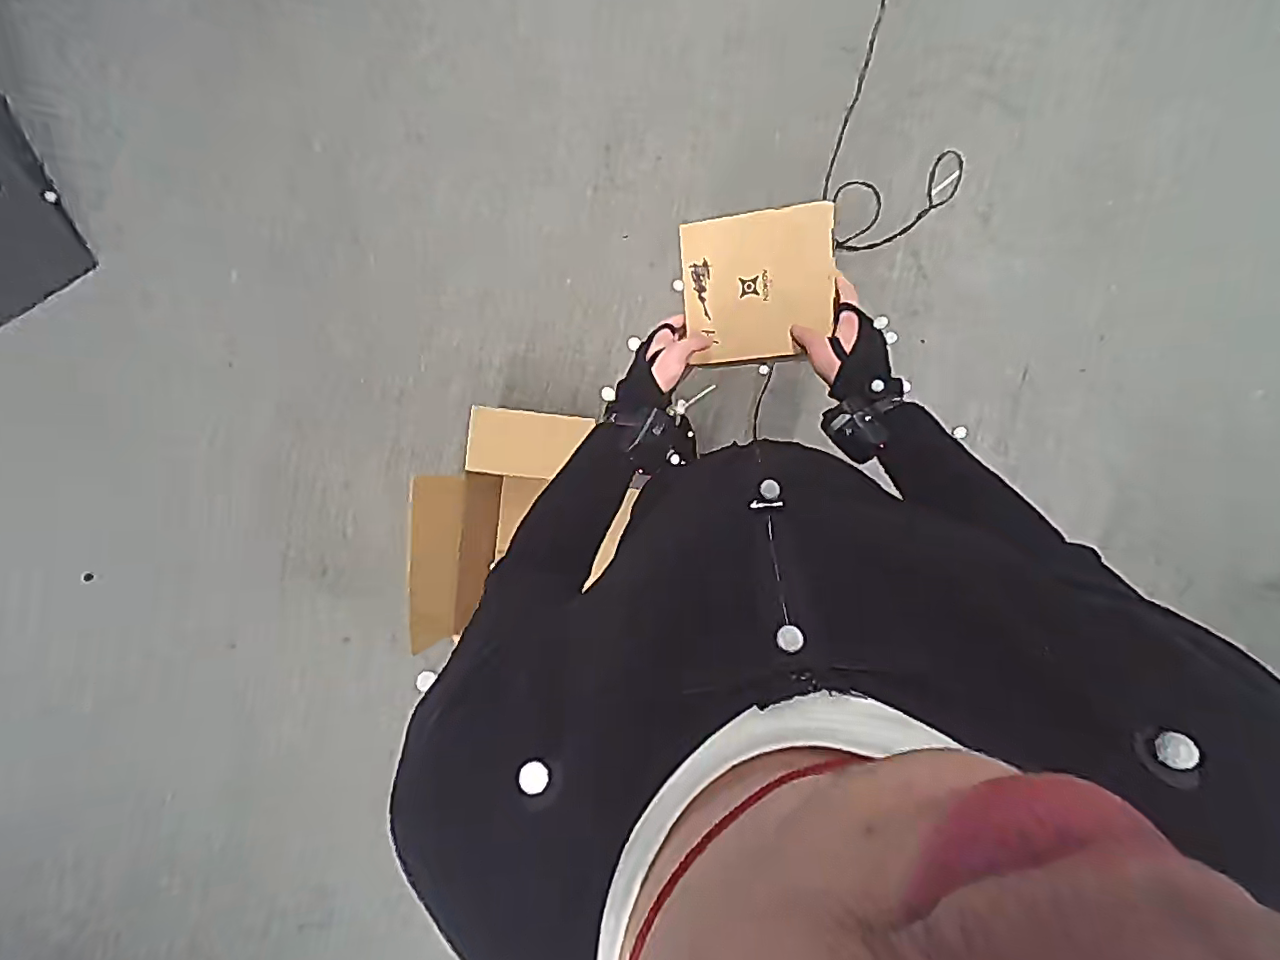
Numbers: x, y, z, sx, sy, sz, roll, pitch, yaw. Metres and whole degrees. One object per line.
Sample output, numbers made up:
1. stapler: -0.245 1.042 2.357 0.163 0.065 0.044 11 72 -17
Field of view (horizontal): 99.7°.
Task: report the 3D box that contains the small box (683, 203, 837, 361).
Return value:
1. small box: 0.159 -0.245 0.712 0.179 0.176 0.168 -1 100 15
